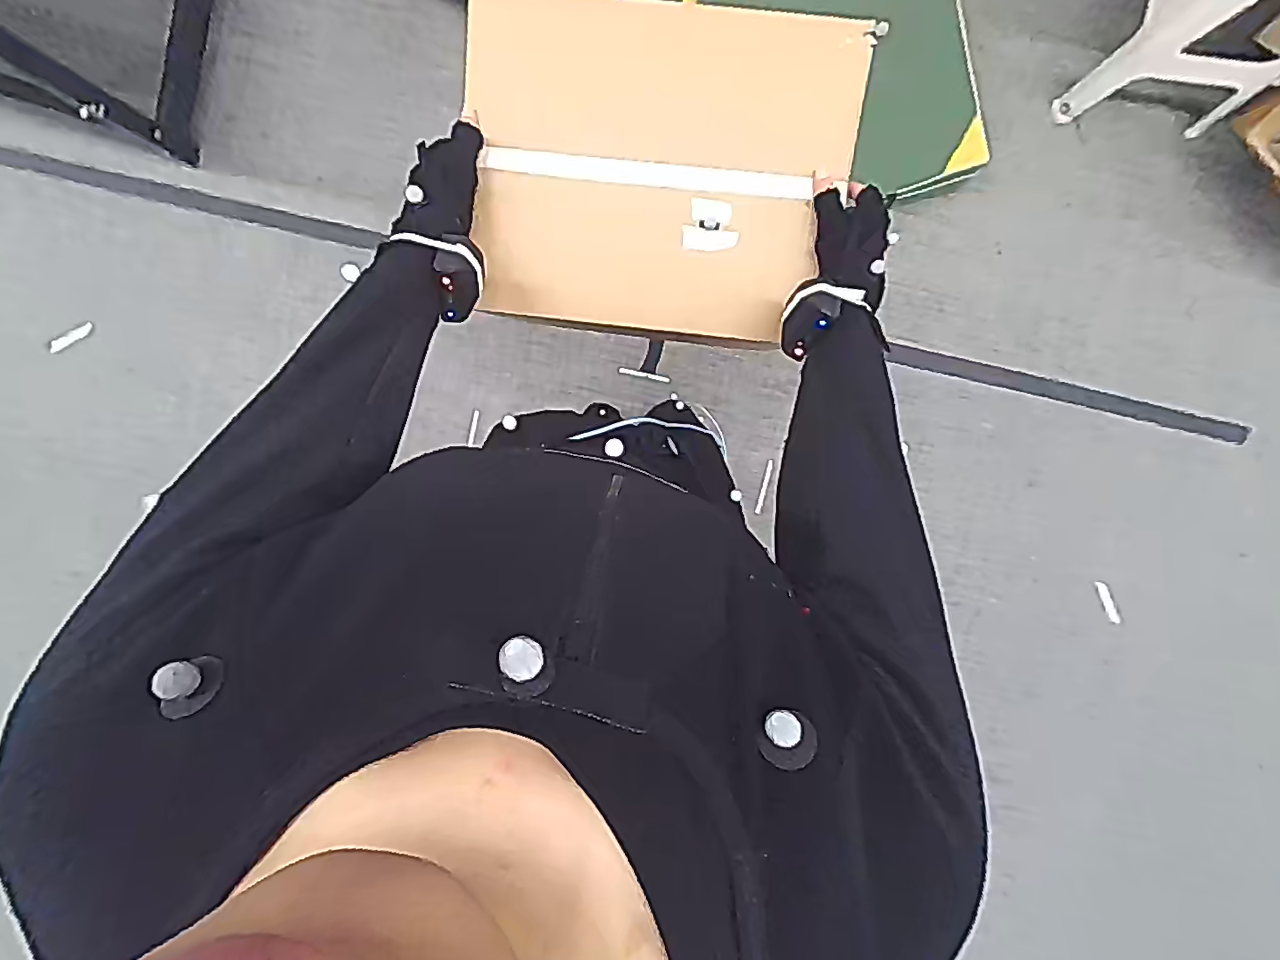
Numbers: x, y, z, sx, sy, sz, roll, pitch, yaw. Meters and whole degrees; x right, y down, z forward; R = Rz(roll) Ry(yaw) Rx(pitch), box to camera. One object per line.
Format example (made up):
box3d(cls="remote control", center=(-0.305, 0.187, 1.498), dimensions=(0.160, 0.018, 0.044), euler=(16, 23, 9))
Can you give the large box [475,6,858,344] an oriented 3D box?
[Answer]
box3d(cls="large box", center=(0.019, -0.360, 0.736), dimensions=(0.408, 0.320, 0.320), euler=(6, 104, 1))
